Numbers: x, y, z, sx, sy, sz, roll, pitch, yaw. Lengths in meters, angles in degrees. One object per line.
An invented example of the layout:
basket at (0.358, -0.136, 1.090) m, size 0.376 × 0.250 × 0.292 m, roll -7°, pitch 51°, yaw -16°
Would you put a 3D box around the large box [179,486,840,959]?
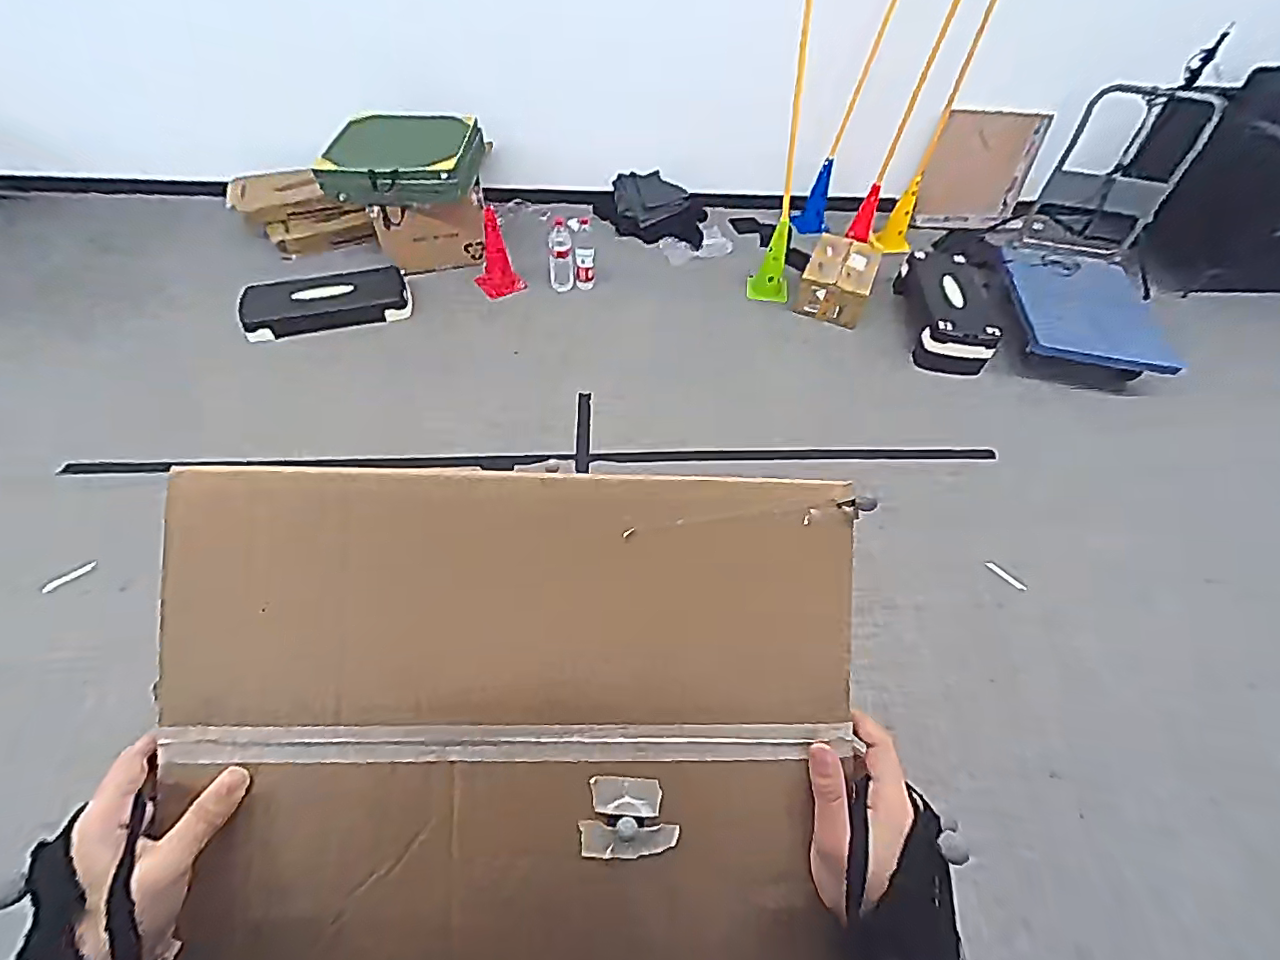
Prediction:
large box at (-0.082, 0.165, 0.481) m, size 0.408 × 0.320 × 0.320 m, roll 1°, pitch 90°, yaw -4°
